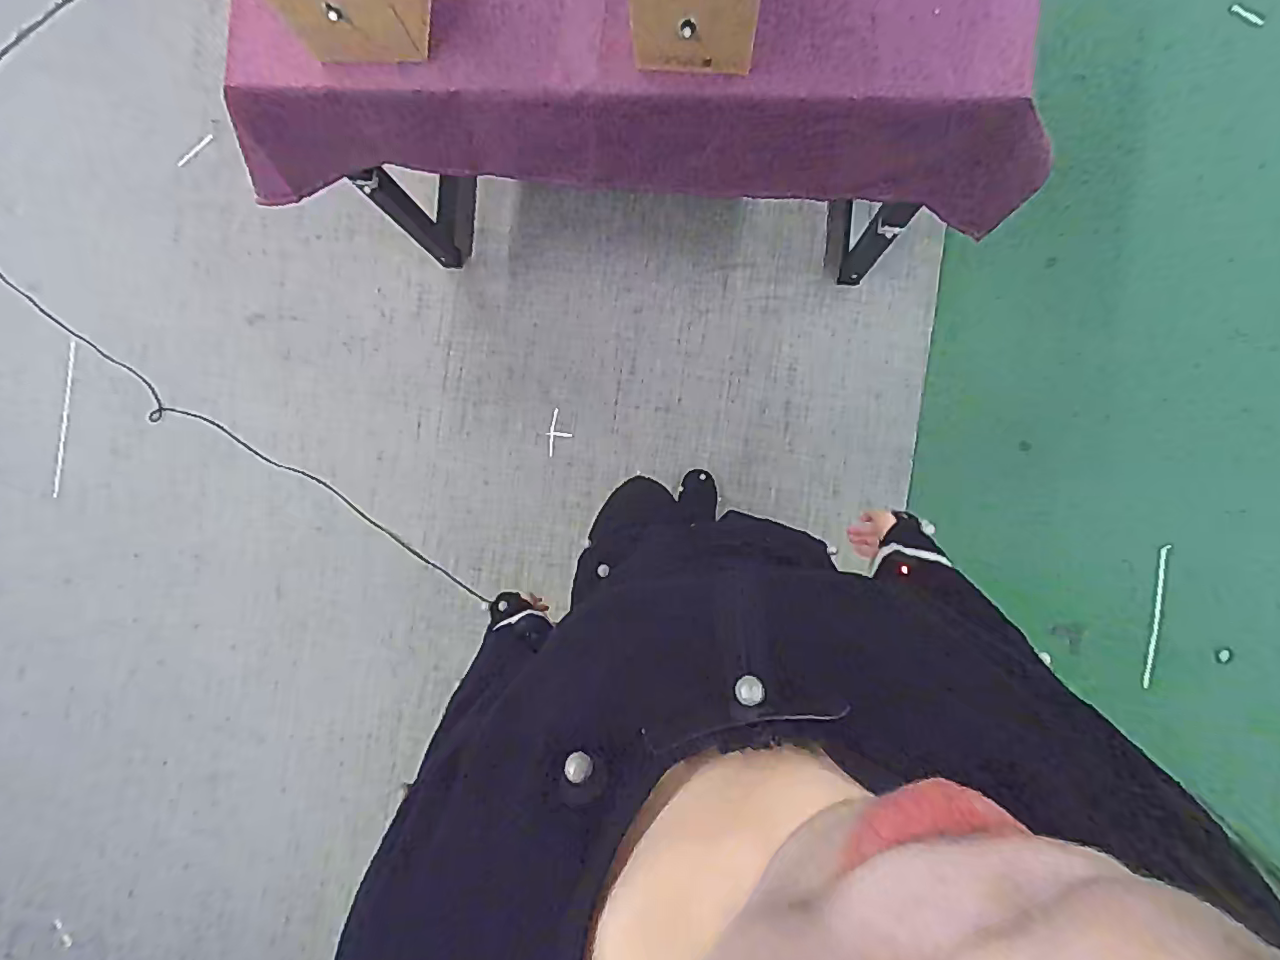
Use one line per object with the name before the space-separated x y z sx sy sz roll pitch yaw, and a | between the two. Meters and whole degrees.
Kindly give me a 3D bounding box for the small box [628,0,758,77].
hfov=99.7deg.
small box | 0.078 -0.676 0.712 0.168 0.176 0.179 8 89 4
